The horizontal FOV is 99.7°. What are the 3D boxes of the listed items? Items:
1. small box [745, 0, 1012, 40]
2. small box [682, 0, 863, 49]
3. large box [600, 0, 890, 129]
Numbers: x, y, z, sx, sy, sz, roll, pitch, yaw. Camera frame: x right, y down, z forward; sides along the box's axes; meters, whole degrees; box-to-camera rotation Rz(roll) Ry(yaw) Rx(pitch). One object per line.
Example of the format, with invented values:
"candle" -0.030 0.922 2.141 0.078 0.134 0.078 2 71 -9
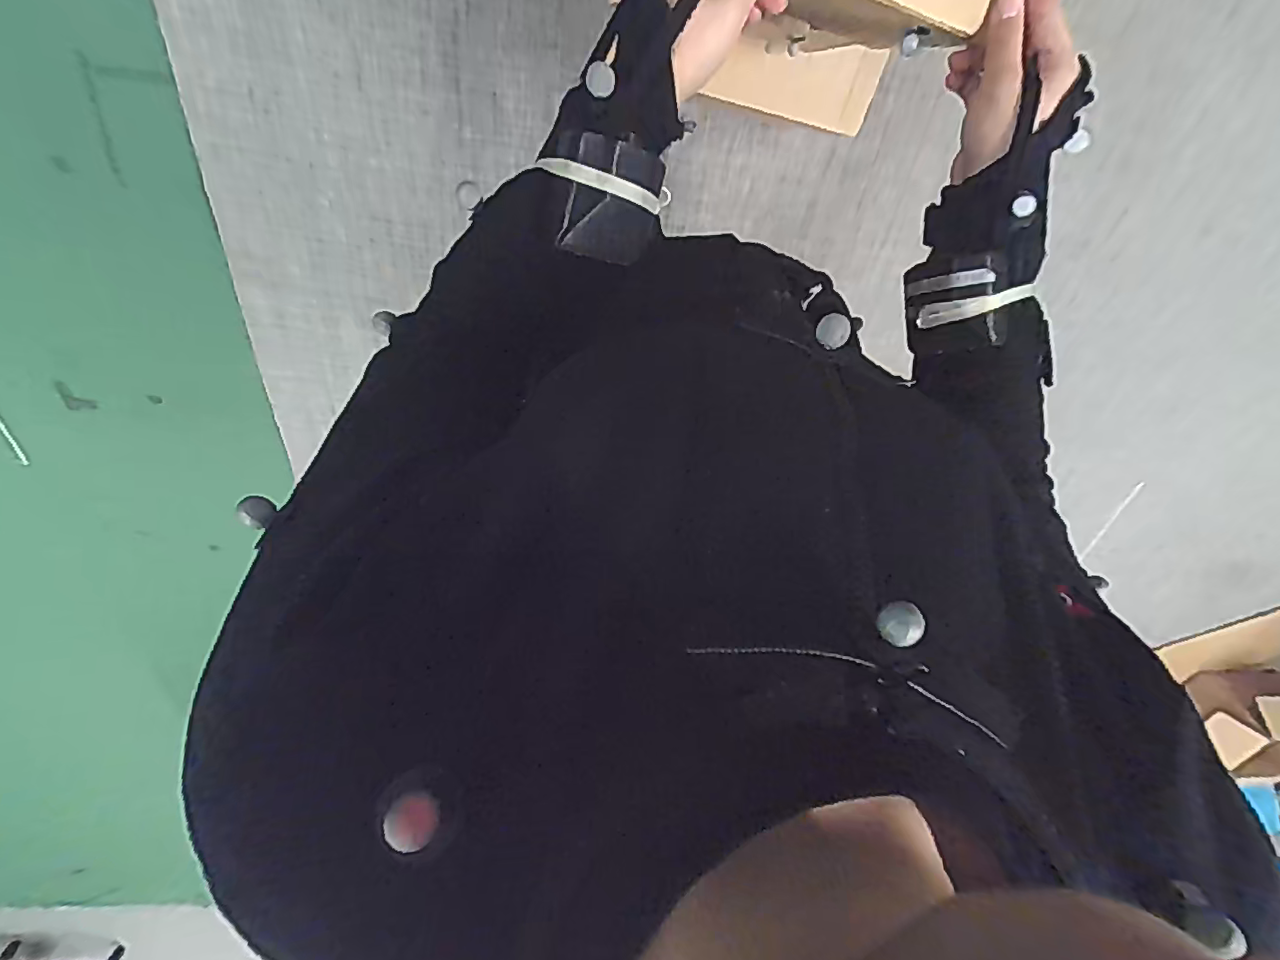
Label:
"small box" 0.148 -0.399 0.337 0.179 0.176 0.168 6 126 -15
"small box" 0.140 -0.527 0.499 0.168 0.176 0.179 6 124 -11
"large box" 0.158 -0.768 0.830 0.408 0.320 0.320 7 126 -11
